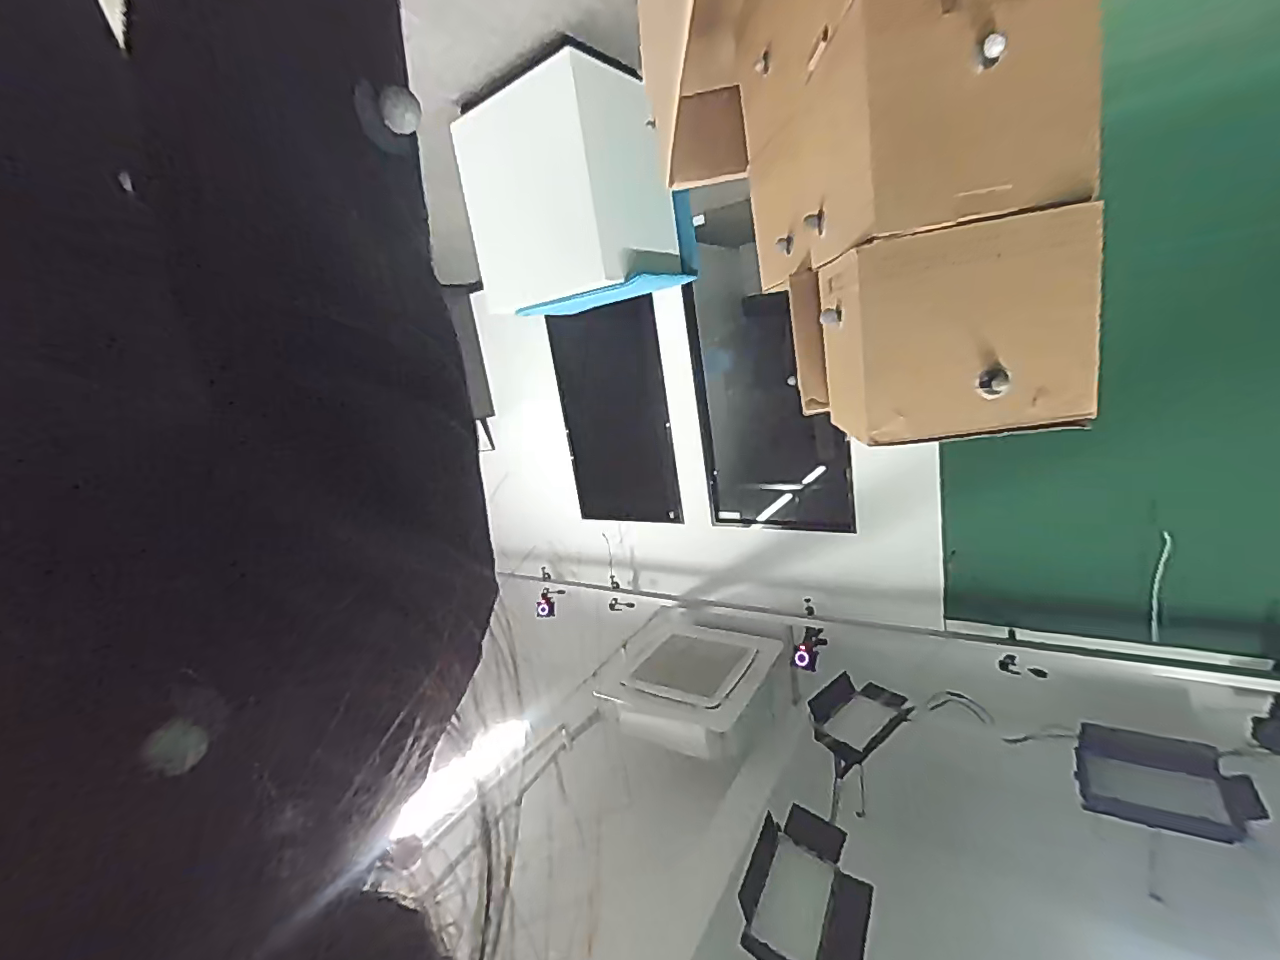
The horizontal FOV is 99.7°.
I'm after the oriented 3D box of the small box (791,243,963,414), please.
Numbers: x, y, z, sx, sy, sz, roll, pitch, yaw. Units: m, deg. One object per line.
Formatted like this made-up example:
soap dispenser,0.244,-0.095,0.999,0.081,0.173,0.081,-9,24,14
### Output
small box,0.284,-0.185,0.680,0.168,0.176,0.179,-6,-170,17
